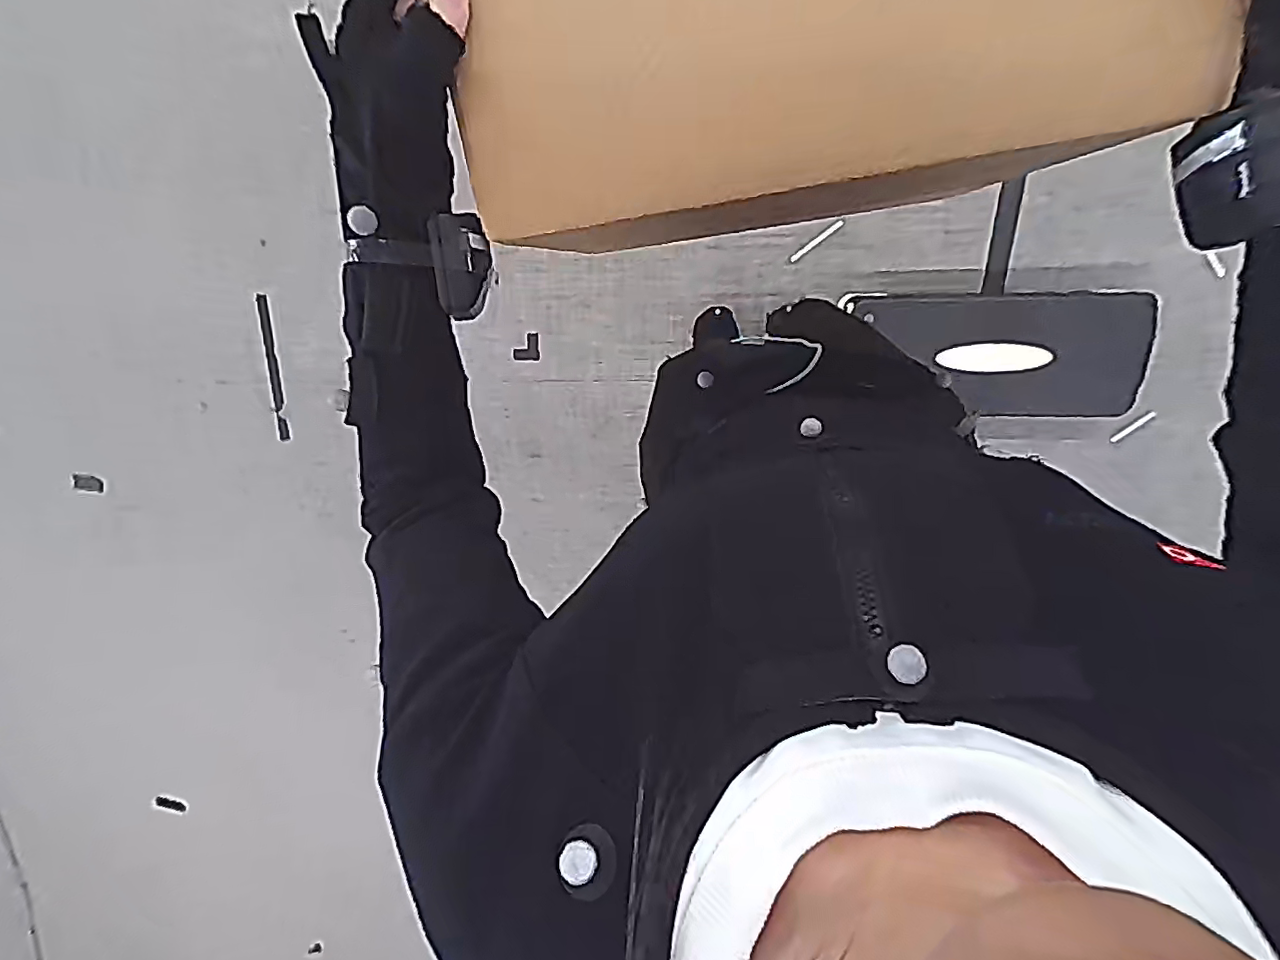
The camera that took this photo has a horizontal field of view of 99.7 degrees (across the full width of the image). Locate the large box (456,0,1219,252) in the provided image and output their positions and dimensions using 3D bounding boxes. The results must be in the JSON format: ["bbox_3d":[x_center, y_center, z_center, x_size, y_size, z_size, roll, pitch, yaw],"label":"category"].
[{"bbox_3d":[0.099,-0.376,0.410,0.408,0.320,0.320,-6,110,9],"label":"large box"}]
